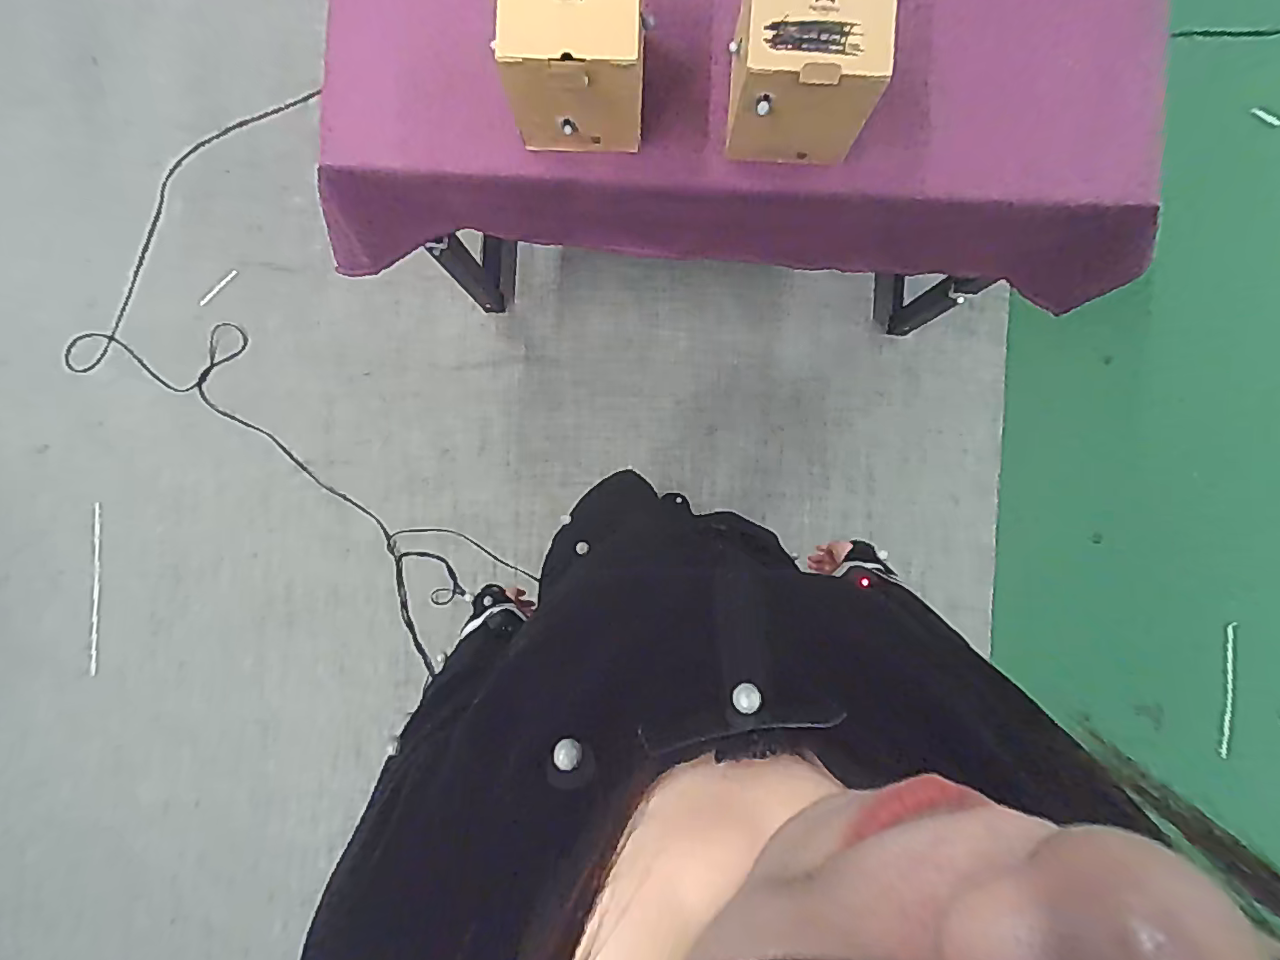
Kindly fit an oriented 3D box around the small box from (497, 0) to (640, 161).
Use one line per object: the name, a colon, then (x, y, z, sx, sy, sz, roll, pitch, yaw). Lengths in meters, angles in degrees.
small box: (-0.085, -0.561, 0.717, 0.168, 0.176, 0.179, 1, 90, 1)
